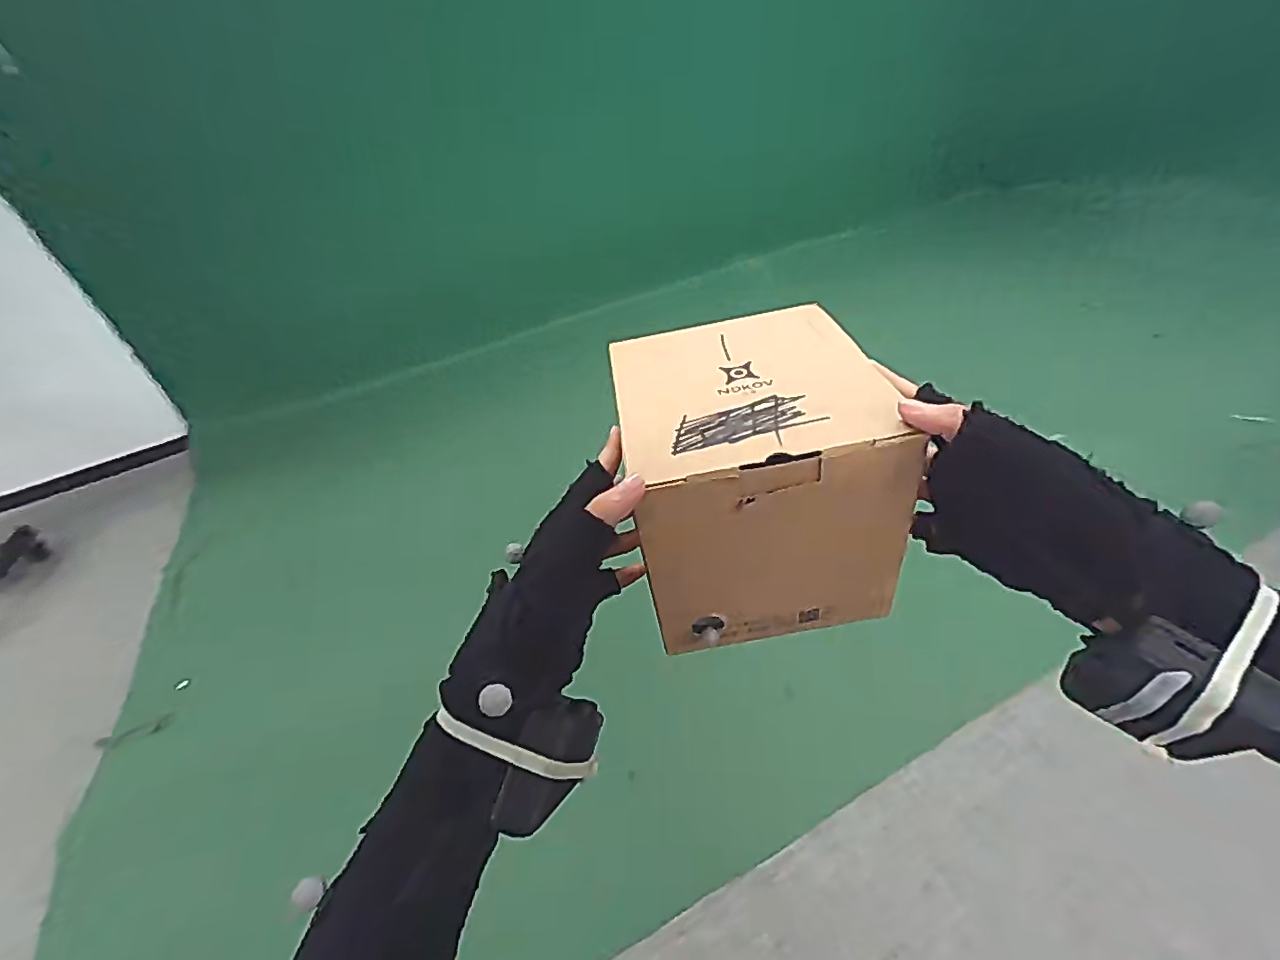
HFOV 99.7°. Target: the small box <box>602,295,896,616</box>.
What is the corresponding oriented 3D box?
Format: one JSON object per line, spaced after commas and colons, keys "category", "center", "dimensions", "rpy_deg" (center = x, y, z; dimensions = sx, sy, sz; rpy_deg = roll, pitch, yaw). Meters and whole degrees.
{"category": "small box", "center": [0.070, -0.015, 0.412], "dimensions": [0.168, 0.176, 0.179], "rpy_deg": [-10, 39, 2]}
